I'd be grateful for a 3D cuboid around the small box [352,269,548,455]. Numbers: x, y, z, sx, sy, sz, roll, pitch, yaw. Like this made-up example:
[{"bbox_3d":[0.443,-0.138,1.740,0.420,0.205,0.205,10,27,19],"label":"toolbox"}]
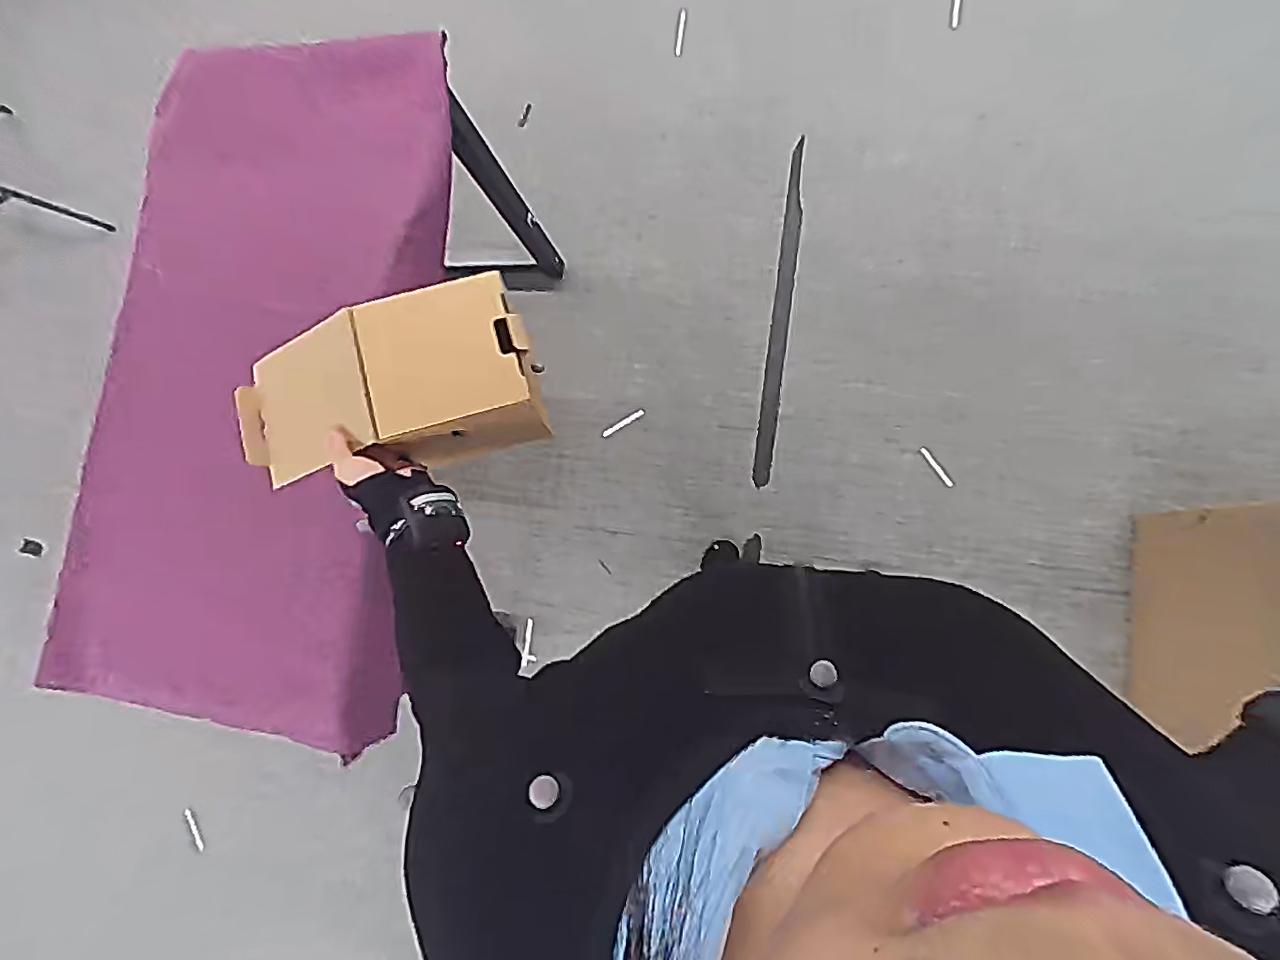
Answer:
[{"bbox_3d":[-0.228,-0.136,0.687,0.179,0.176,0.168,-13,84,-3],"label":"small box"}]
